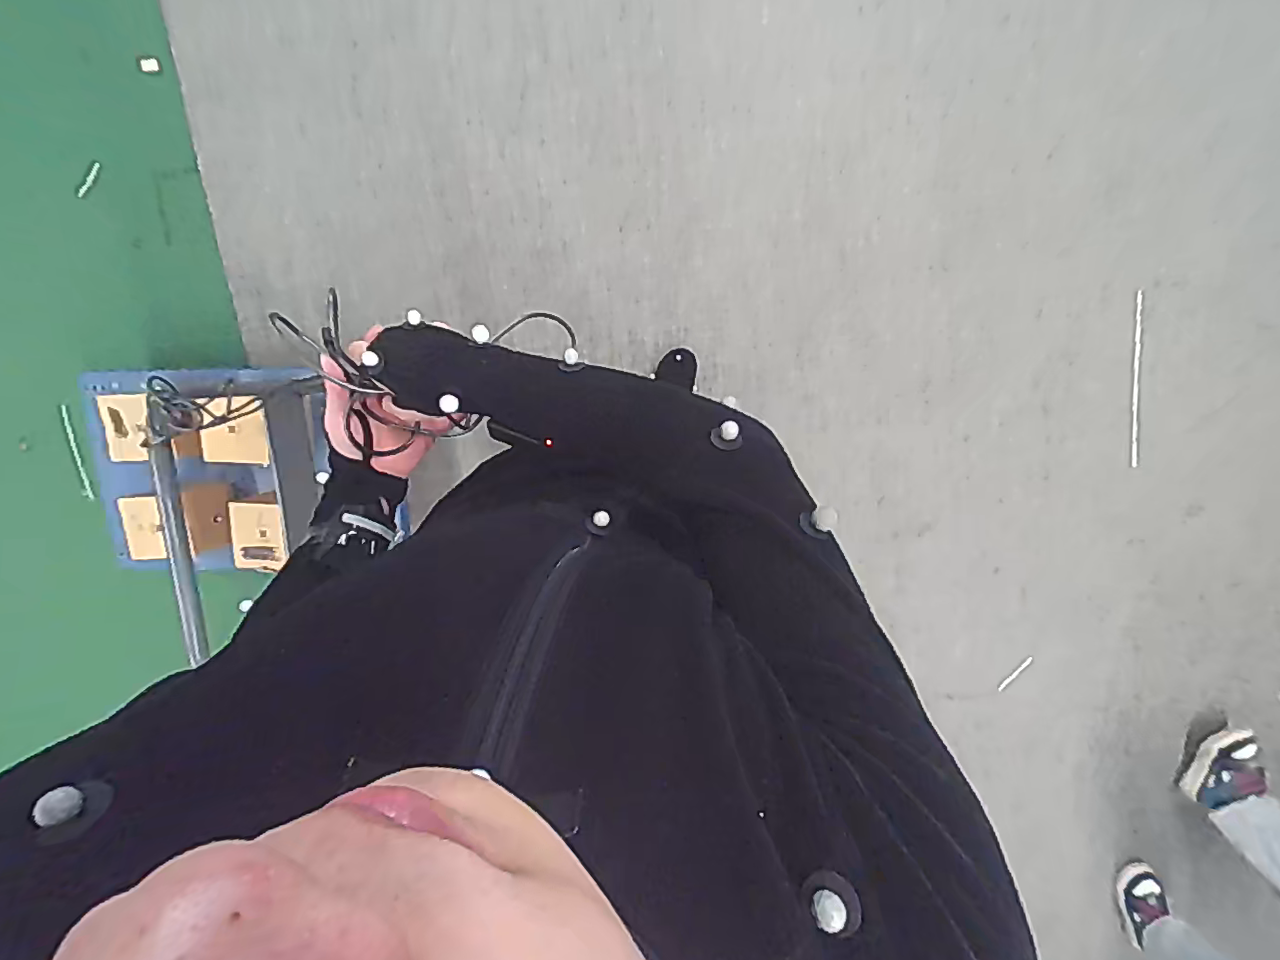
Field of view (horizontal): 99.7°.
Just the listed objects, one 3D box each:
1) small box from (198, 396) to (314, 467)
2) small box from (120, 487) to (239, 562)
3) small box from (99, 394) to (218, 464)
[{"bbox_3d":[-0.982,-0.130,1.395,0.179,0.176,0.168,2,101,2],"label":"small box"},{"bbox_3d":[-1.225,0.115,1.457,0.179,0.176,0.168,-3,100,4],"label":"small box"},{"bbox_3d":[-1.228,-0.136,1.407,0.179,0.176,0.168,-2,102,3],"label":"small box"}]
